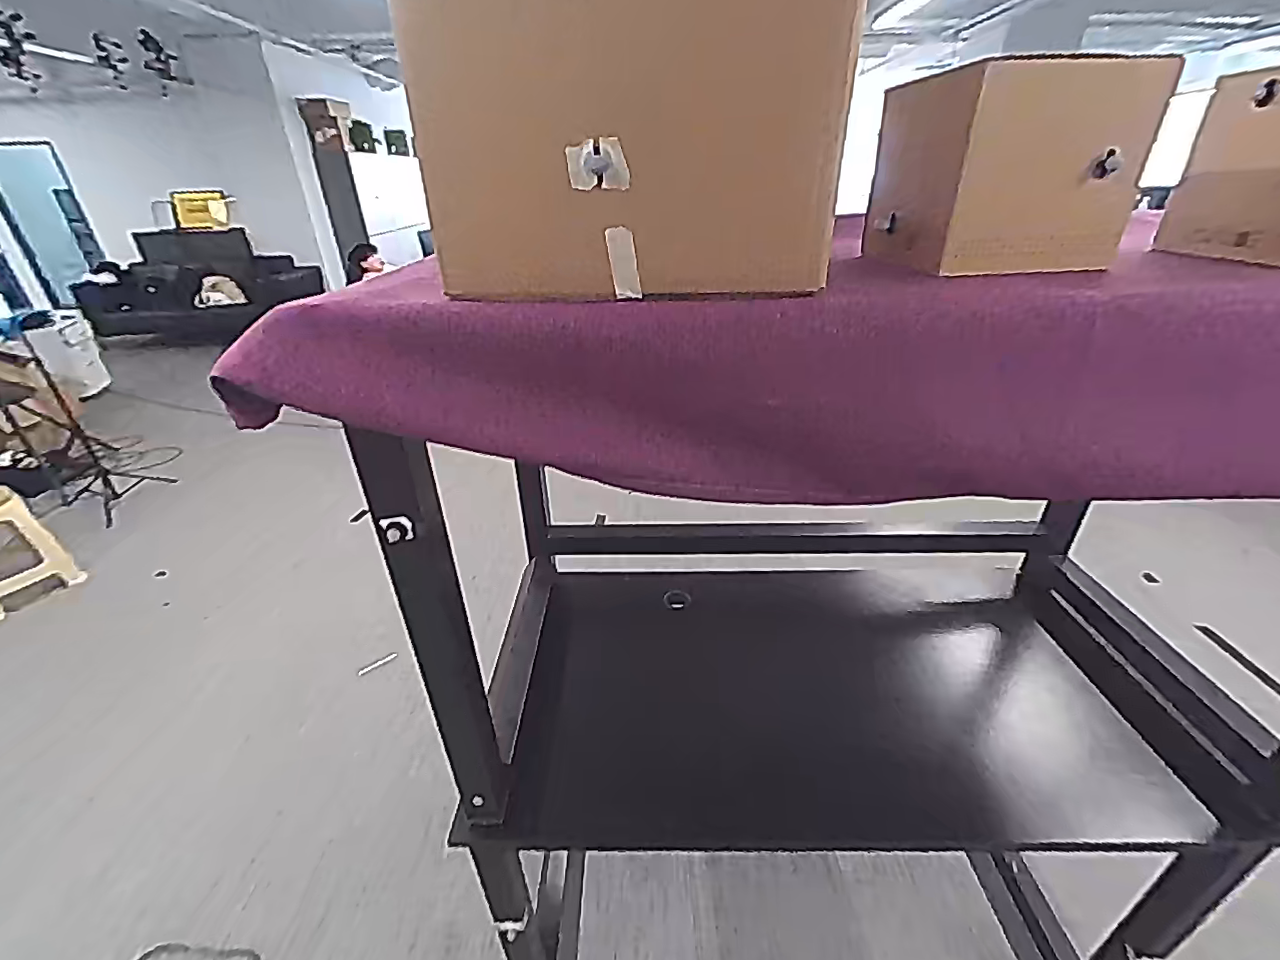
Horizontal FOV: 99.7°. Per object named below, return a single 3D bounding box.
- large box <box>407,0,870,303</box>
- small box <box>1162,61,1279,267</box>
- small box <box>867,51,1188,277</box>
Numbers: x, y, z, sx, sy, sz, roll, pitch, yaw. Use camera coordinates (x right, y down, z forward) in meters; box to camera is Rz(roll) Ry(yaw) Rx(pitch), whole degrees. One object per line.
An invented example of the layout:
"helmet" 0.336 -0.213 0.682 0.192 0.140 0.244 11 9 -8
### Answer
"large box" 0.003 -0.369 0.532 0.320 0.320 0.408 1 28 3
"small box" 0.677 -0.303 0.517 0.179 0.176 0.168 -1 28 1
"small box" 0.354 -0.304 0.538 0.179 0.176 0.168 -4 28 -4
